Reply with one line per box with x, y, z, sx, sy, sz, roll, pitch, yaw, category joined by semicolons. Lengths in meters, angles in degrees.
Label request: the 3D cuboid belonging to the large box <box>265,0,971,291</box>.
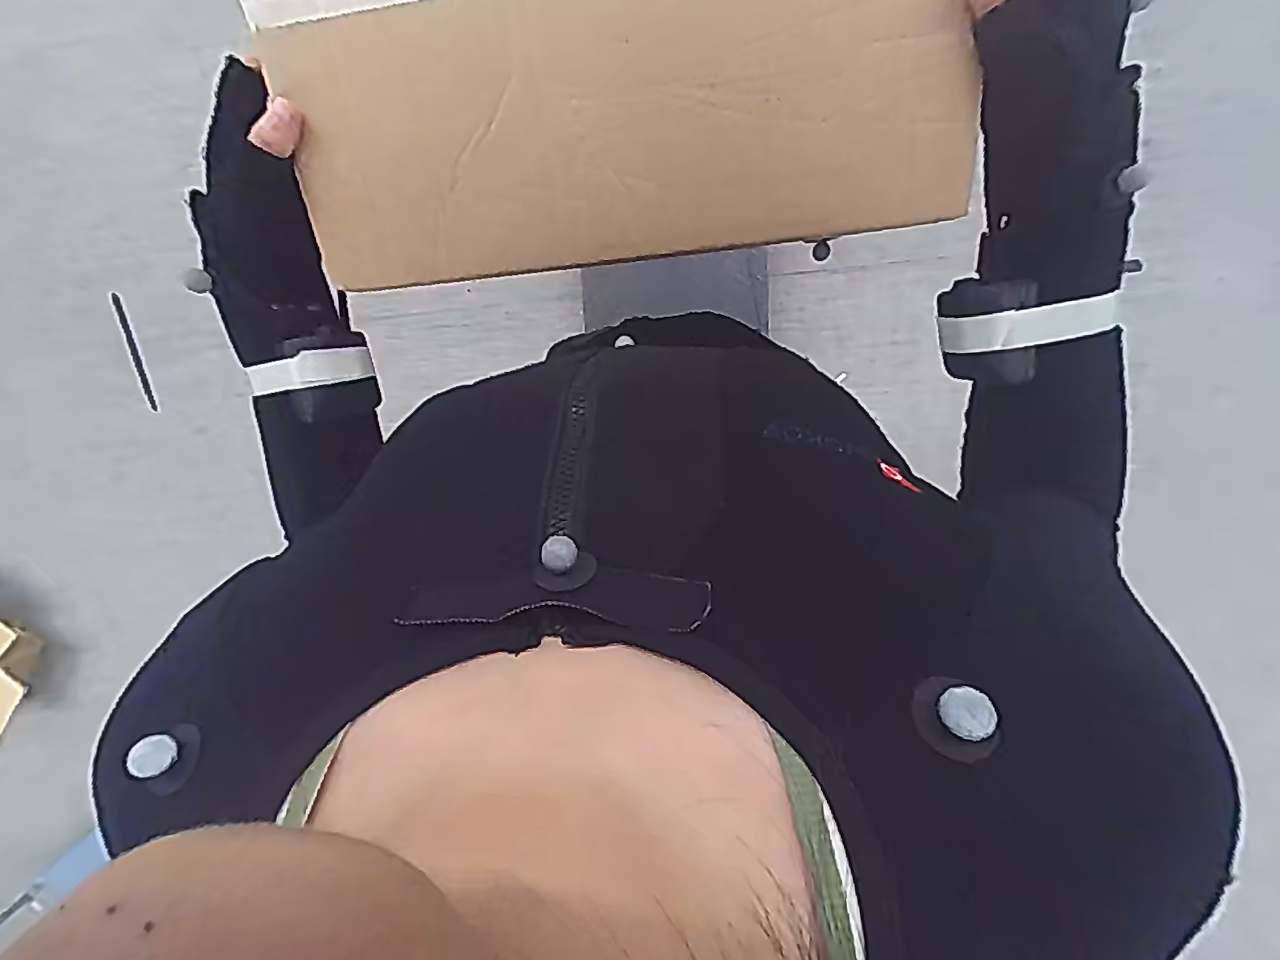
-0.008;-0.348;0.429;0.408;0.320;0.320;-3;113;8;large box
